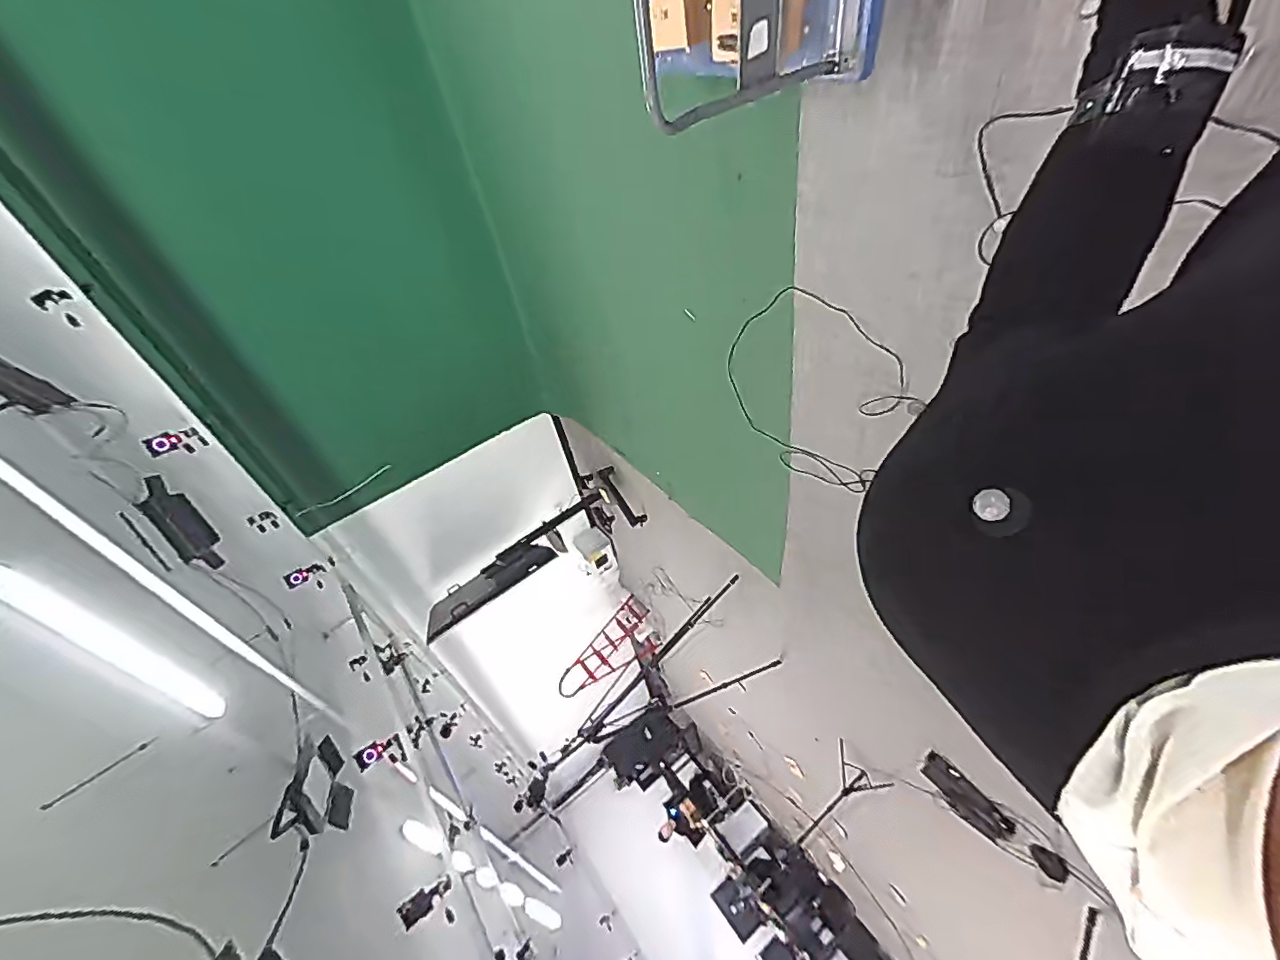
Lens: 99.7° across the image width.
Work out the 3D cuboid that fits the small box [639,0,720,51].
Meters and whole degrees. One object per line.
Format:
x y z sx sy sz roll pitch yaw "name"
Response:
0.120 -1.369 1.565 0.179 0.176 0.168 37 151 41 "small box"
